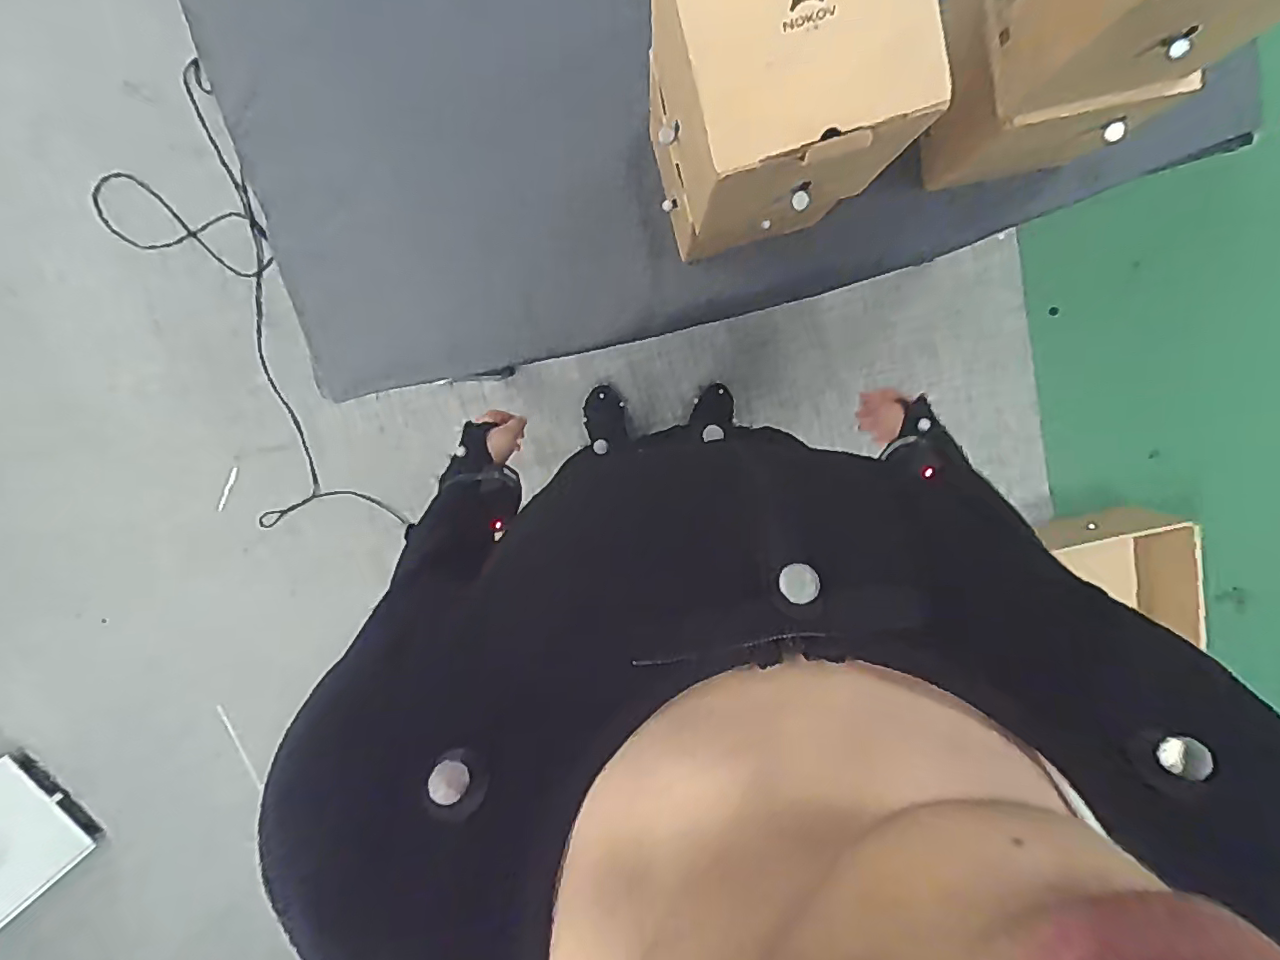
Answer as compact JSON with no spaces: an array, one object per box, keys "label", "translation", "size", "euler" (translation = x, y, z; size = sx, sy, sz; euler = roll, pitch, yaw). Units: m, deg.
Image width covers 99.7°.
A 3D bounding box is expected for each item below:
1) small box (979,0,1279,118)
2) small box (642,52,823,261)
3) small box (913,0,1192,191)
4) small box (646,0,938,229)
[{"label":"small box","translation":[0.392,-0.415,0.408],"size":[0.179,0.176,0.168],"euler":[-11,98,5]},{"label":"small box","translation":[0.107,-0.359,0.593],"size":[0.179,0.176,0.168],"euler":[-16,100,3]},{"label":"small box","translation":[0.413,-0.432,0.570],"size":[0.179,0.176,0.168],"euler":[-10,98,4]},{"label":"small box","translation":[0.104,-0.321,0.433],"size":[0.168,0.176,0.179],"euler":[-15,100,4]}]
